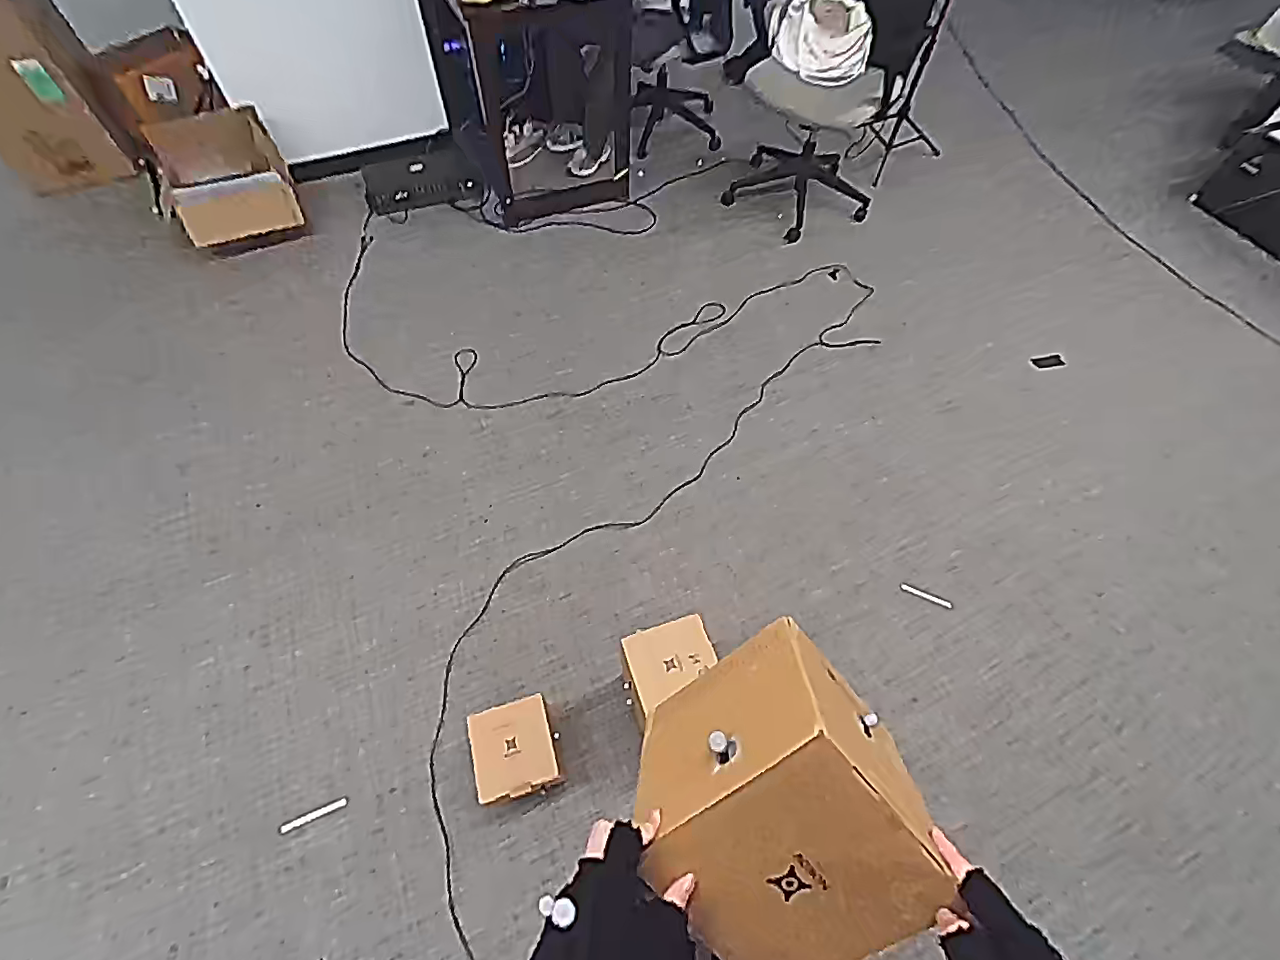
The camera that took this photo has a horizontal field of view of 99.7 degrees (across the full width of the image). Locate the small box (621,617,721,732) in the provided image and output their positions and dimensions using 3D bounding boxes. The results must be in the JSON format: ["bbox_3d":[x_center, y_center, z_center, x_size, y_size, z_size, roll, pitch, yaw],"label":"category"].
[{"bbox_3d":[0.066,0.414,1.140,0.179,0.176,0.168,-15,61,-12],"label":"small box"}]

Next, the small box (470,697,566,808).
[{"bbox_3d":[-0.267,0.608,1.206,0.168,0.176,0.179,-14,60,-11],"label":"small box"}]

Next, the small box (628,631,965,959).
[{"bbox_3d":[0.116,0.266,0.457,0.179,0.176,0.168,-40,95,12],"label":"small box"}]
